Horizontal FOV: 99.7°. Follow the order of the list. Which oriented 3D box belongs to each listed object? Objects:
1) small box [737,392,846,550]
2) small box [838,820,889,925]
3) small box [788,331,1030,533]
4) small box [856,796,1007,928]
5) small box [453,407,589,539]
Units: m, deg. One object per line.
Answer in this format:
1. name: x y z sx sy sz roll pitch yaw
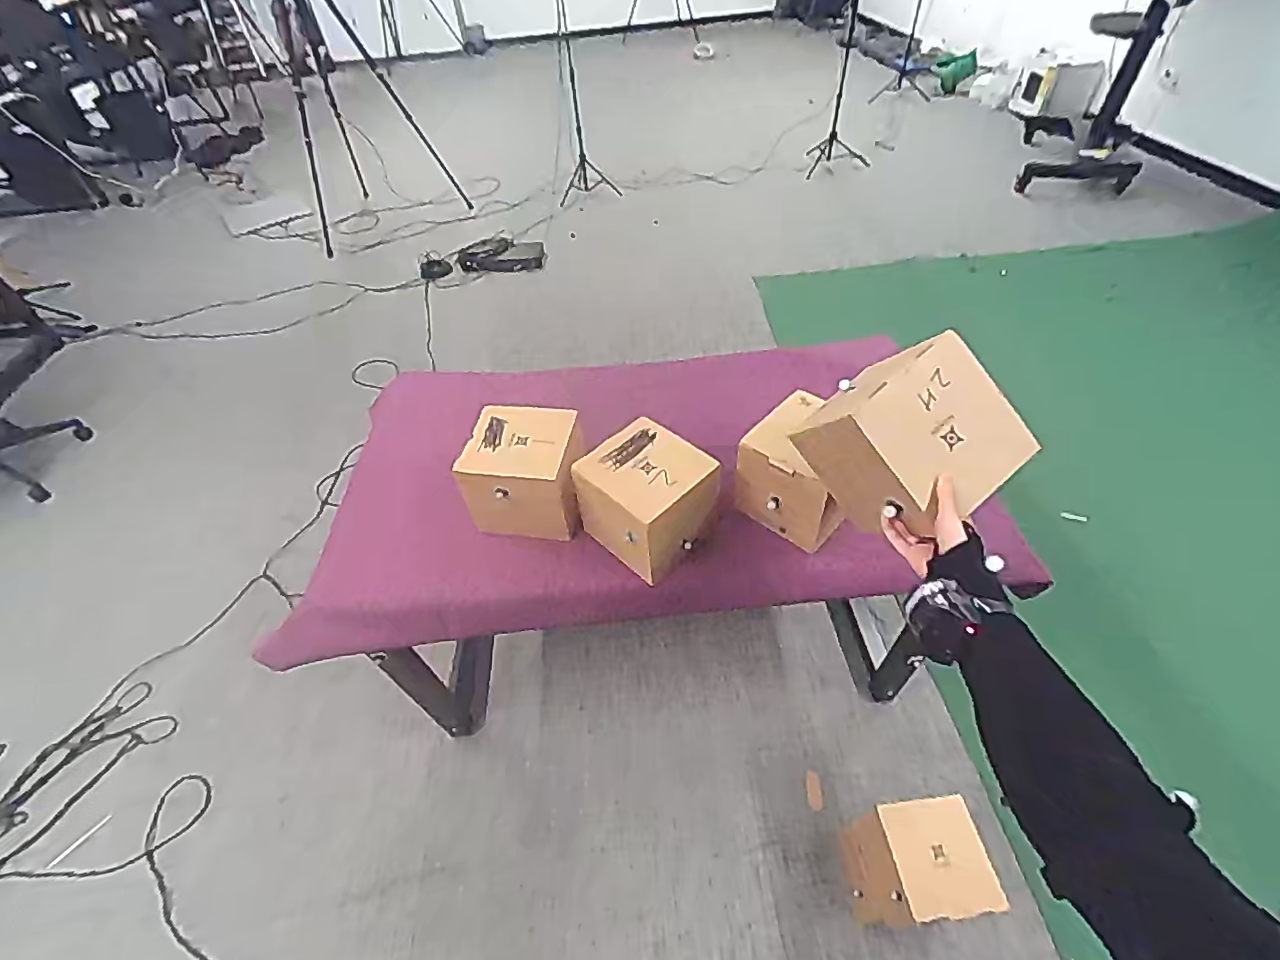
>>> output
1. small box: 0.281 -0.013 0.926 0.168 0.176 0.179 34 59 30
2. small box: 0.532 0.823 1.136 0.179 0.176 0.168 -4 48 0
3. small box: 0.326 -0.052 0.685 0.168 0.176 0.179 -37 92 -10
4. small box: 0.528 0.717 1.014 0.168 0.176 0.179 -7 49 -1
5. small box: -0.199 -0.011 0.965 0.179 0.176 0.168 5 49 8
